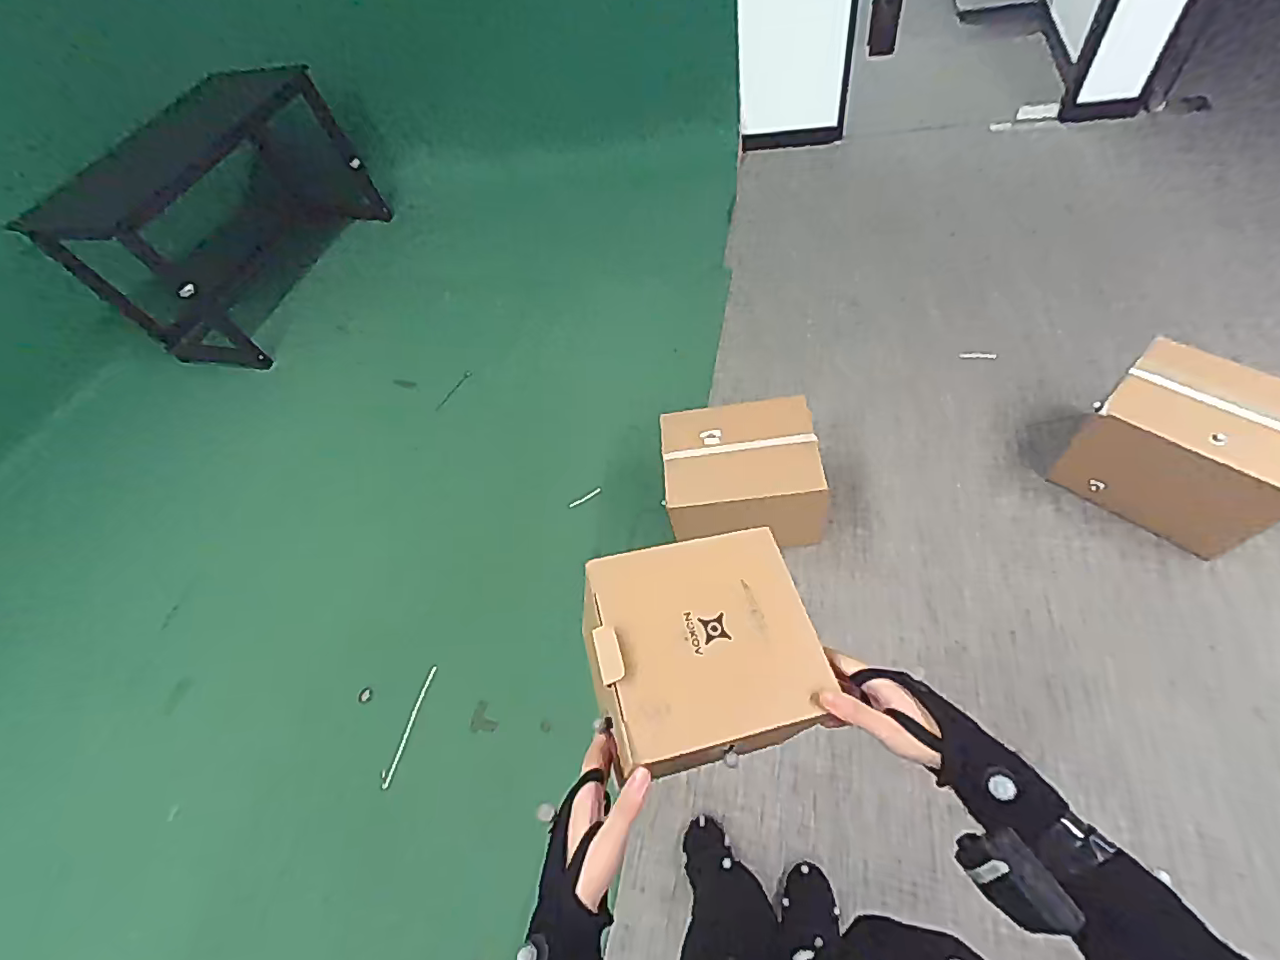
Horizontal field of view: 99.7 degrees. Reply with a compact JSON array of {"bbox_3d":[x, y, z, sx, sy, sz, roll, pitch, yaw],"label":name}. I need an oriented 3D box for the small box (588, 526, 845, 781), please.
[{"bbox_3d":[0.051,0.166,0.506,0.179,0.176,0.168,-9,57,-13],"label":"small box"}]

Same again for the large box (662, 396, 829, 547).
[{"bbox_3d":[0.294,0.005,1.547,0.408,0.320,0.320,-8,56,9],"label":"large box"}]
